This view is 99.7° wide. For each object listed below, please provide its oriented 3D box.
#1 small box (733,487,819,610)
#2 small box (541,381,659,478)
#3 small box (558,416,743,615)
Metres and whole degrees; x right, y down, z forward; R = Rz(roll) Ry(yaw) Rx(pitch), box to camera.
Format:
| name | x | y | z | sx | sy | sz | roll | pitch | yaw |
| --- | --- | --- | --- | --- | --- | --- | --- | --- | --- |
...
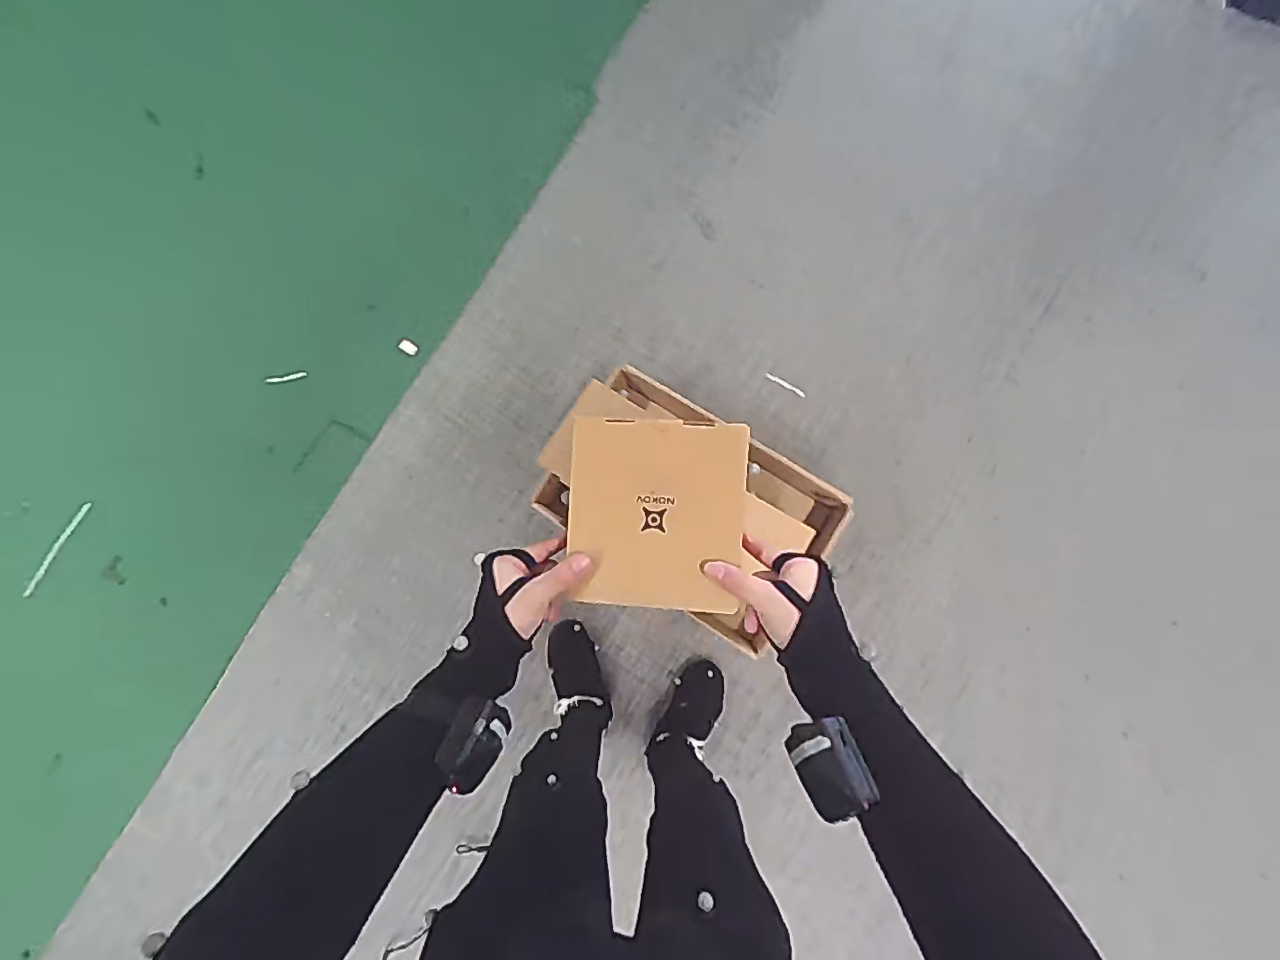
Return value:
| name | x | y | z | sx | sy | sz | roll | pitch | yaw |
| --- | --- | --- | --- | --- | --- | --- | --- | --- | --- |
| small box | 0.215 | 0.132 | 1.050 | 0.179 | 0.176 | 0.168 | 31 | 88 | 10 |
| small box | -0.037 | -0.037 | 0.934 | 0.179 | 0.176 | 0.168 | 34 | 86 | 9 |
| small box | 0.018 | 0.030 | 0.572 | 0.168 | 0.176 | 0.179 | 3 | 90 | 7 |
